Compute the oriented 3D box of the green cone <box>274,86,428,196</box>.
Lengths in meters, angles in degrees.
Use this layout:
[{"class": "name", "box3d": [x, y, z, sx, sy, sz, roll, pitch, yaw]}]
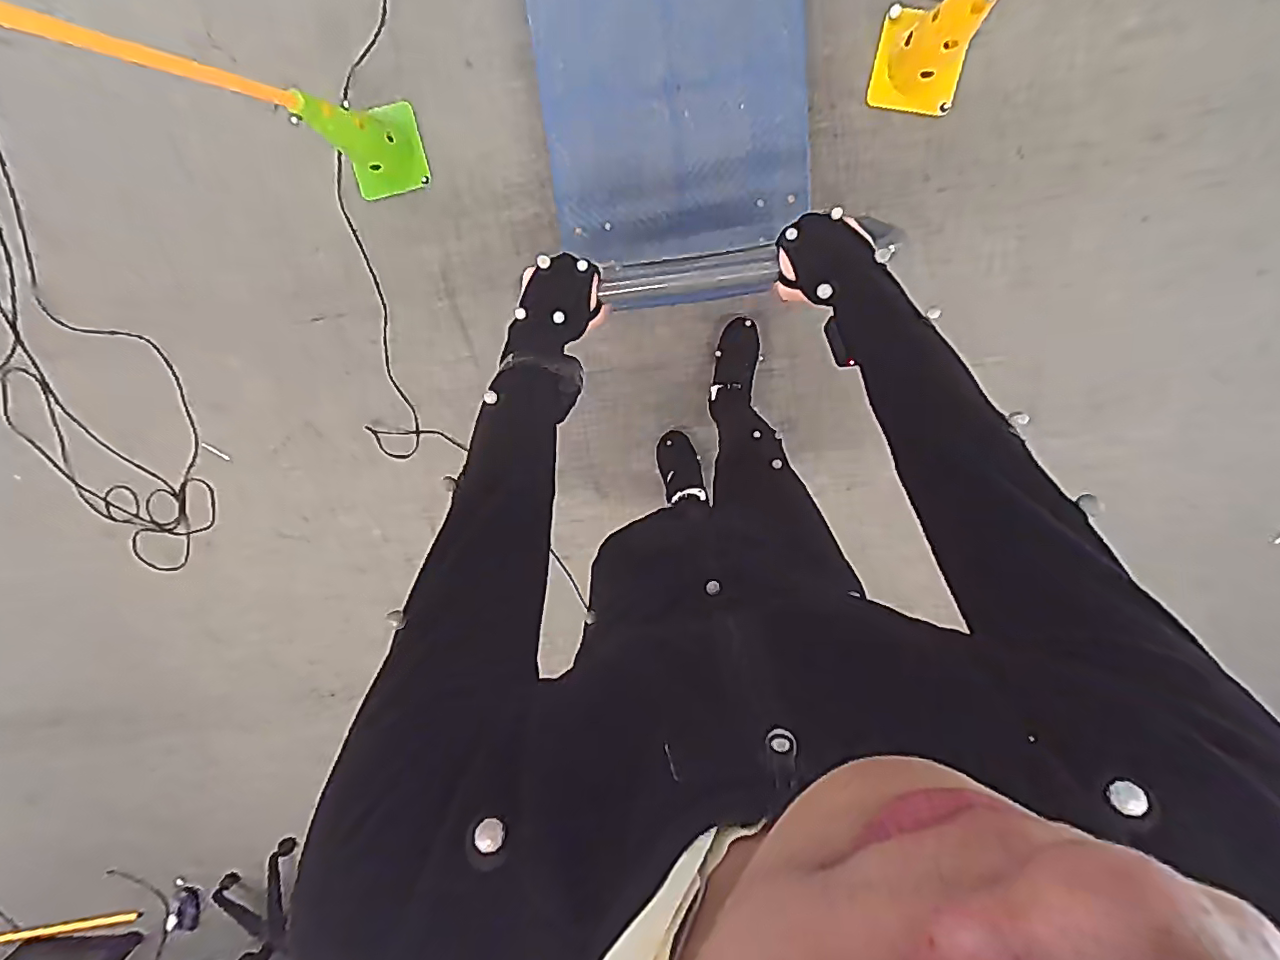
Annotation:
[{"class": "green cone", "box3d": [-0.683, -0.817, 1.242, 0.202, 0.368, 0.200, -10, 105, 10]}]
